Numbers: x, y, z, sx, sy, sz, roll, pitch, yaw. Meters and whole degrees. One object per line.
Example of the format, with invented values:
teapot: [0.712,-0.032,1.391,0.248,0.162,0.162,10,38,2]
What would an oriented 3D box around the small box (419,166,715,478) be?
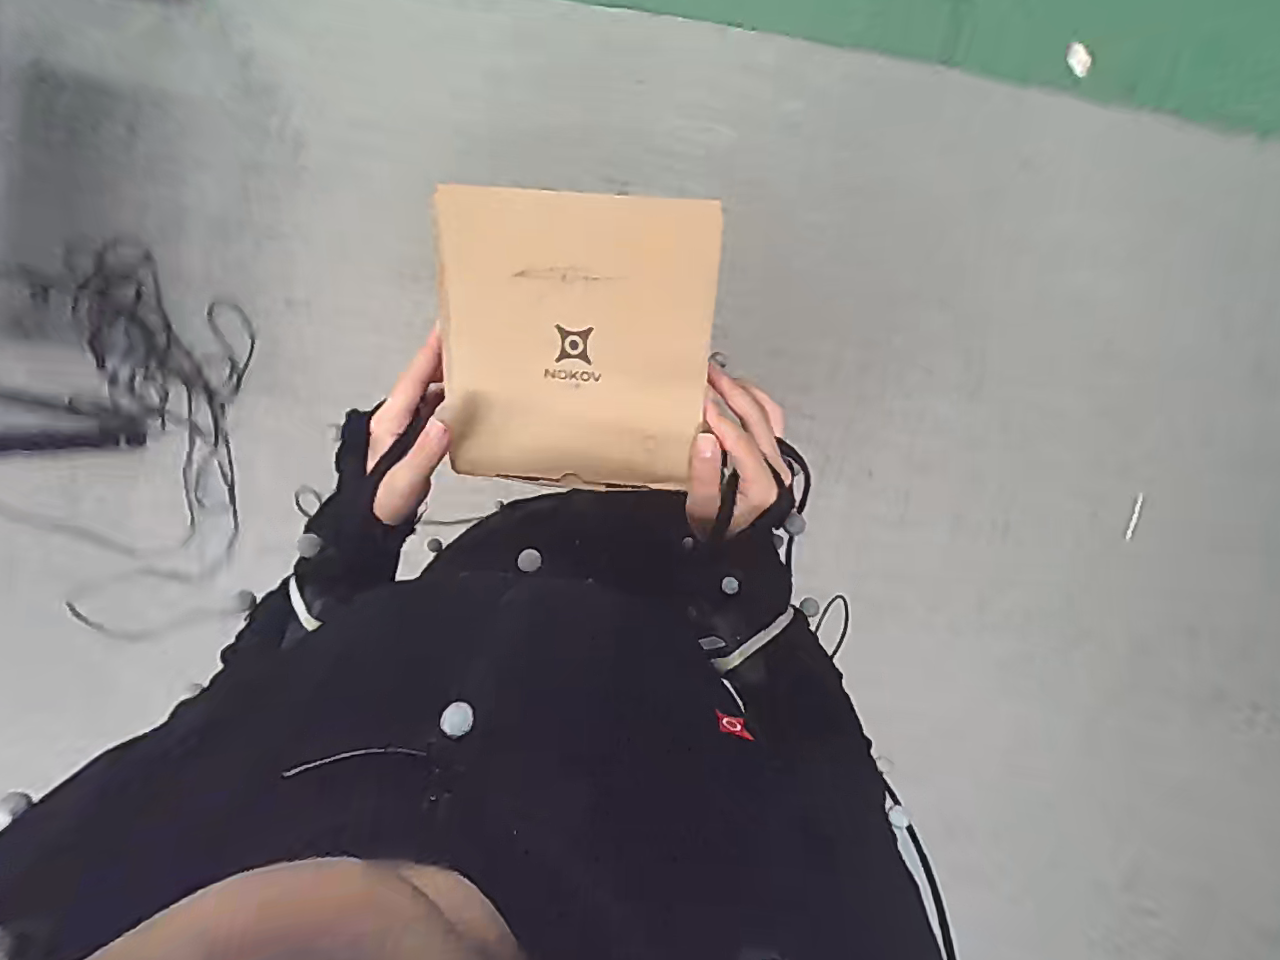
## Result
small box: [-0.038,-0.114,0.396,0.168,0.176,0.179,2,110,3]
